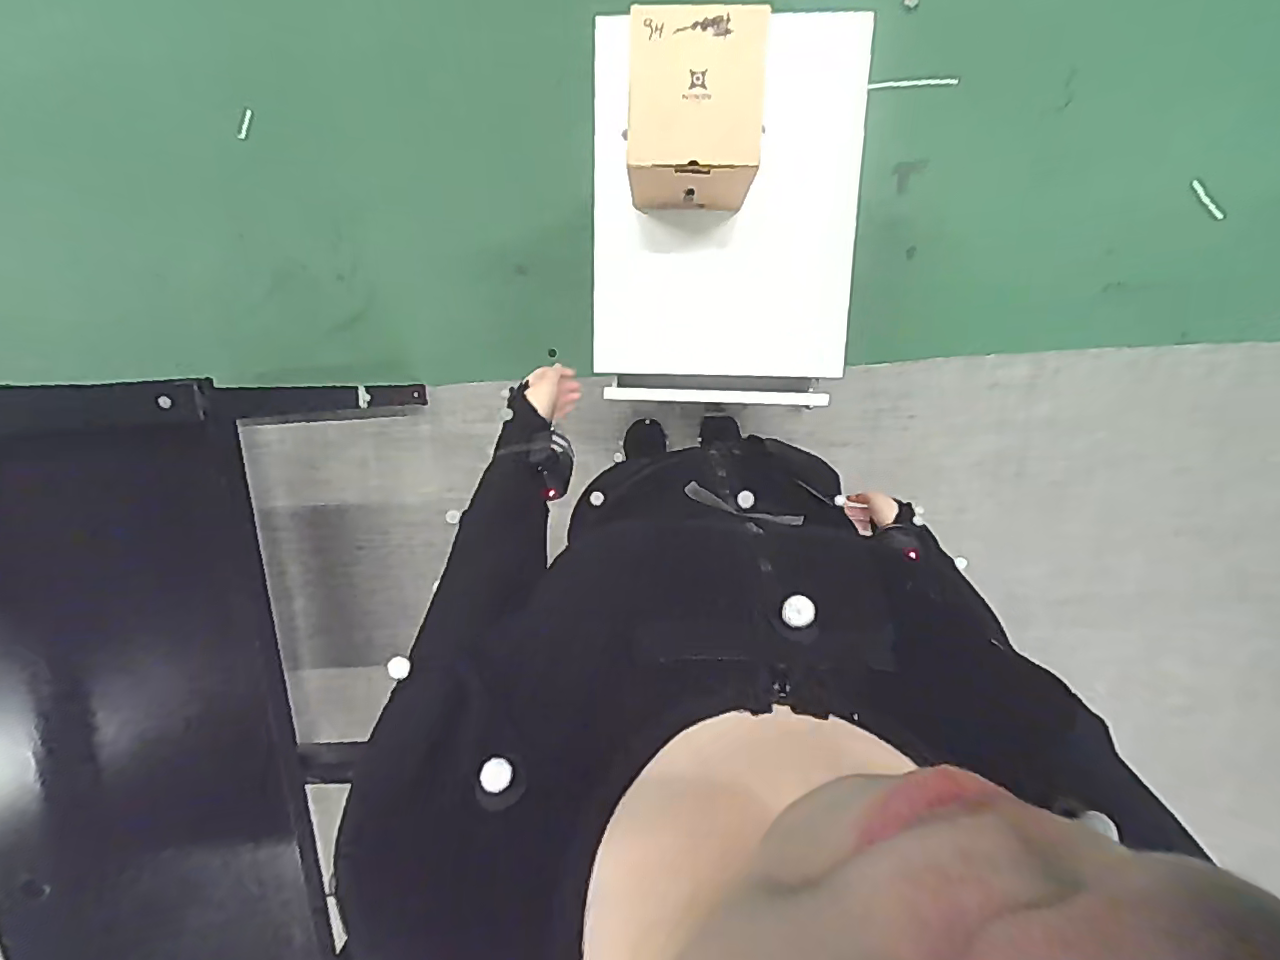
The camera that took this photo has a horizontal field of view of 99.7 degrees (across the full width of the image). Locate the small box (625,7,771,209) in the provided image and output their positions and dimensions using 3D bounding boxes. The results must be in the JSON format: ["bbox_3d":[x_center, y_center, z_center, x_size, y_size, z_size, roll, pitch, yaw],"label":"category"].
[{"bbox_3d":[0.071,-0.471,0.713,0.168,0.176,0.179,2,101,2],"label":"small box"}]
